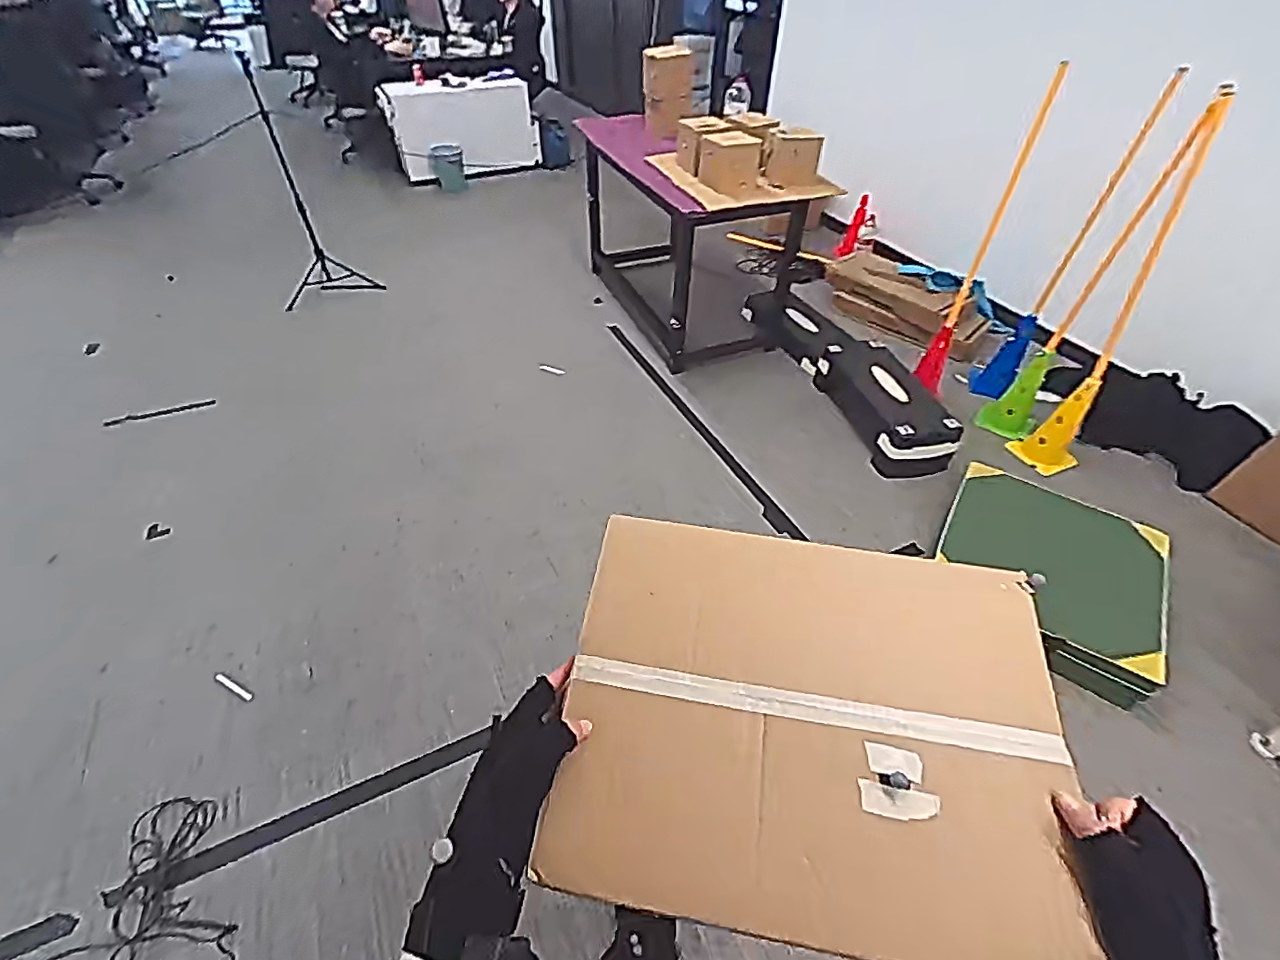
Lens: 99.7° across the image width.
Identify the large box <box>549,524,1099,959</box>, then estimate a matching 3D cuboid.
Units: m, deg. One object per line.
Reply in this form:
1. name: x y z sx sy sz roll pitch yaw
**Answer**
1. large box: 0.148 0.276 0.595 0.408 0.320 0.320 8 58 6
